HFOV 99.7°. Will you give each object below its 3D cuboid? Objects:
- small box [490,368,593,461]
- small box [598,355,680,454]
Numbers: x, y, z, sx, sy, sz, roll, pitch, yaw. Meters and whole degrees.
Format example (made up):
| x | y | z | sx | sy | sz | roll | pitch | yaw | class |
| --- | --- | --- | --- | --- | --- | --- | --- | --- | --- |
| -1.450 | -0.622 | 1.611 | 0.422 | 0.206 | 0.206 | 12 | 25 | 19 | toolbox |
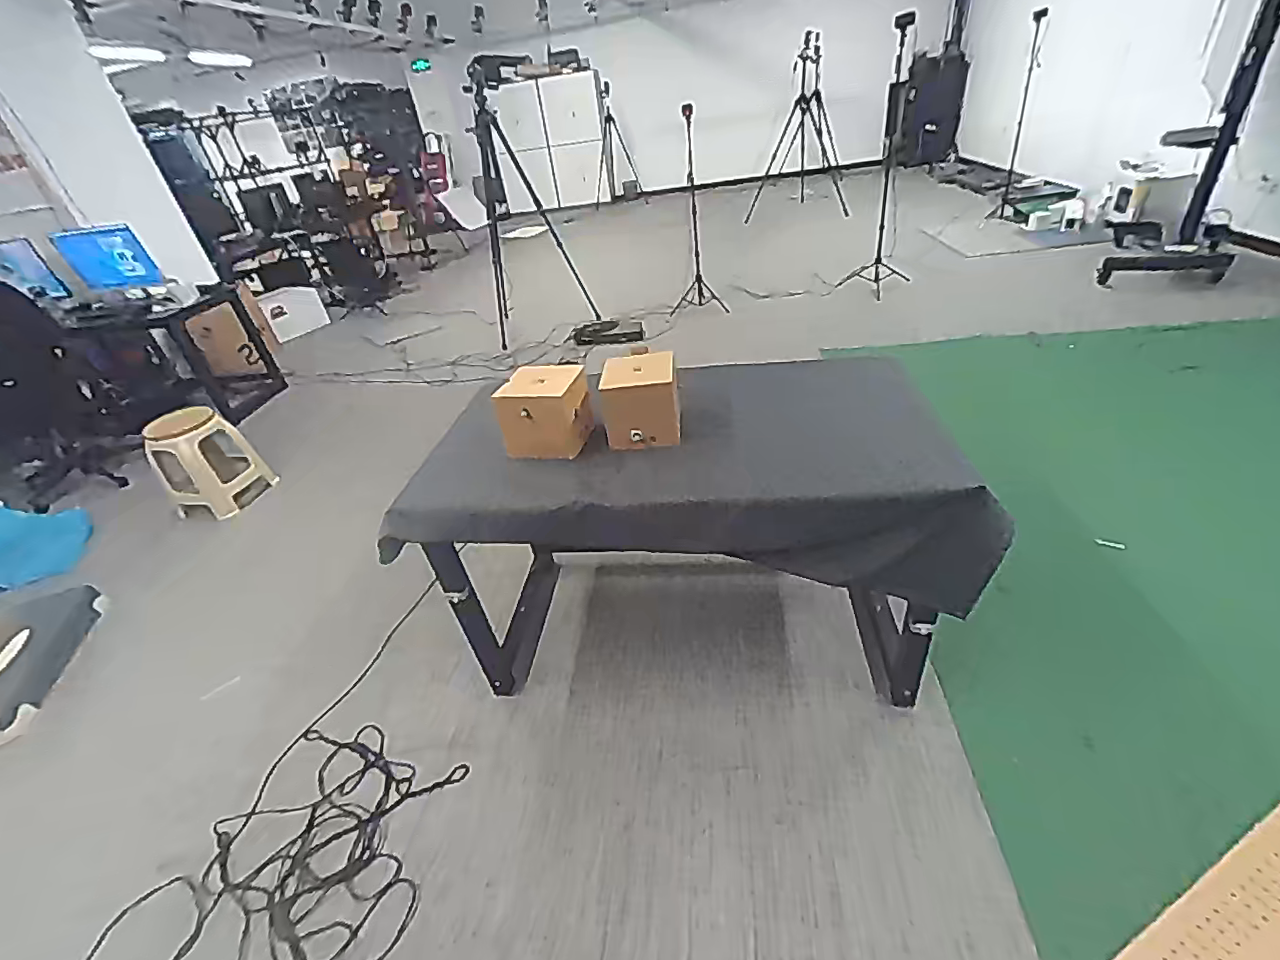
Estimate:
| x | y | z | sx | sy | sz | roll | pitch | yaw | class |
| --- | --- | --- | --- | --- | --- | --- | --- | --- | --- |
| -0.225 | -0.156 | 1.296 | 0.179 | 0.176 | 0.168 | 2 | 35 | 15 | small box |
| 0.004 | -0.178 | 1.280 | 0.168 | 0.176 | 0.179 | -5 | 35 | 7 | small box |
